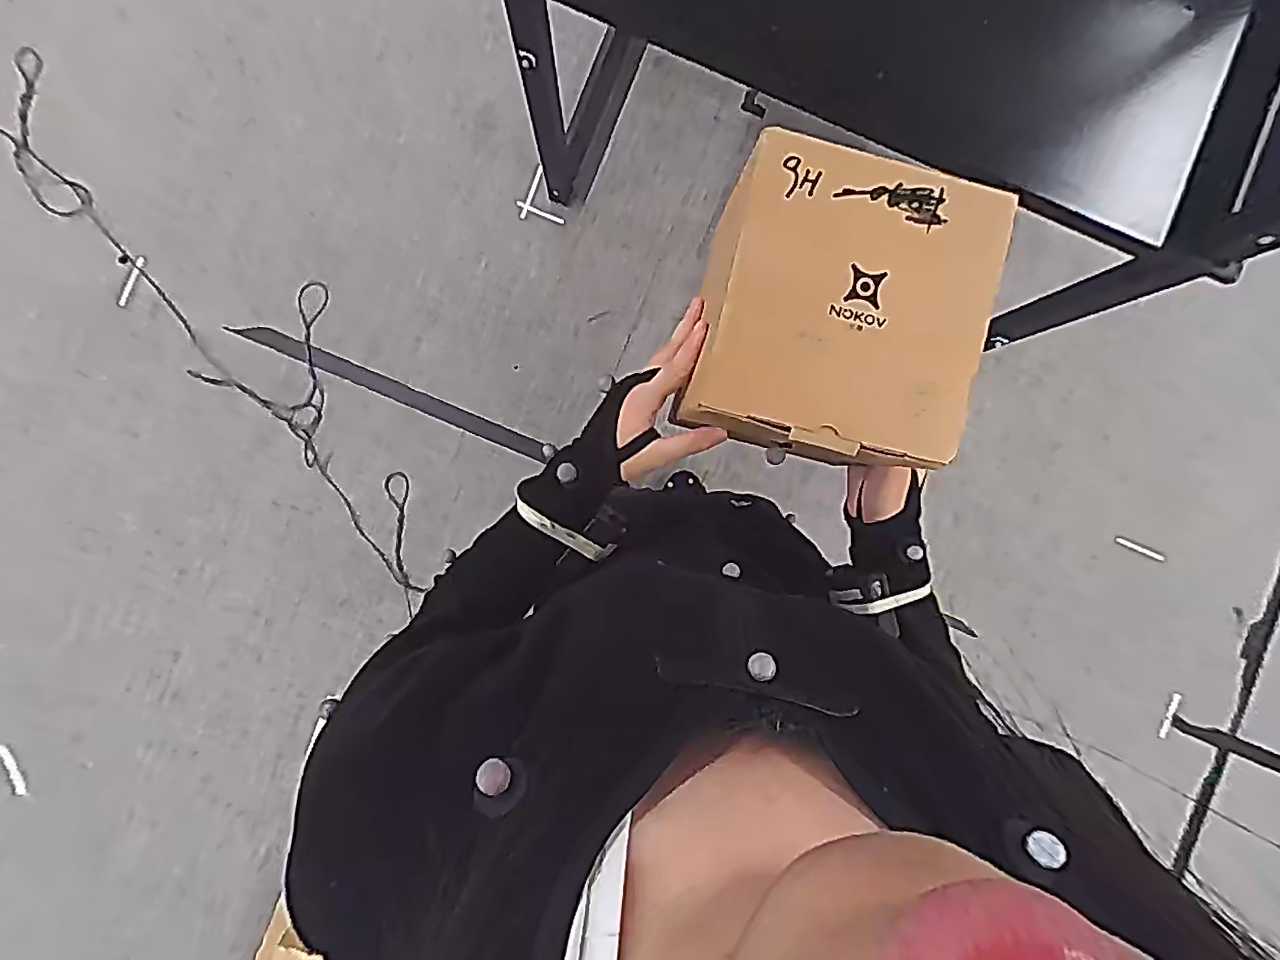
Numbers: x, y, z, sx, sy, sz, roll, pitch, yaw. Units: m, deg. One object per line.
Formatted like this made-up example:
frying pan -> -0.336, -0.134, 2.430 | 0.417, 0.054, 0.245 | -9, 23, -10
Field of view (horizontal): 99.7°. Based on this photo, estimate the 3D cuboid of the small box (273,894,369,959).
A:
small box -> -0.815, 1.203, 1.365 | 0.168, 0.176, 0.179 | 19, 90, -3

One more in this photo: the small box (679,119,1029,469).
small box -> 0.132, -0.114, 0.403 | 0.168, 0.176, 0.179 | 13, 93, -5
